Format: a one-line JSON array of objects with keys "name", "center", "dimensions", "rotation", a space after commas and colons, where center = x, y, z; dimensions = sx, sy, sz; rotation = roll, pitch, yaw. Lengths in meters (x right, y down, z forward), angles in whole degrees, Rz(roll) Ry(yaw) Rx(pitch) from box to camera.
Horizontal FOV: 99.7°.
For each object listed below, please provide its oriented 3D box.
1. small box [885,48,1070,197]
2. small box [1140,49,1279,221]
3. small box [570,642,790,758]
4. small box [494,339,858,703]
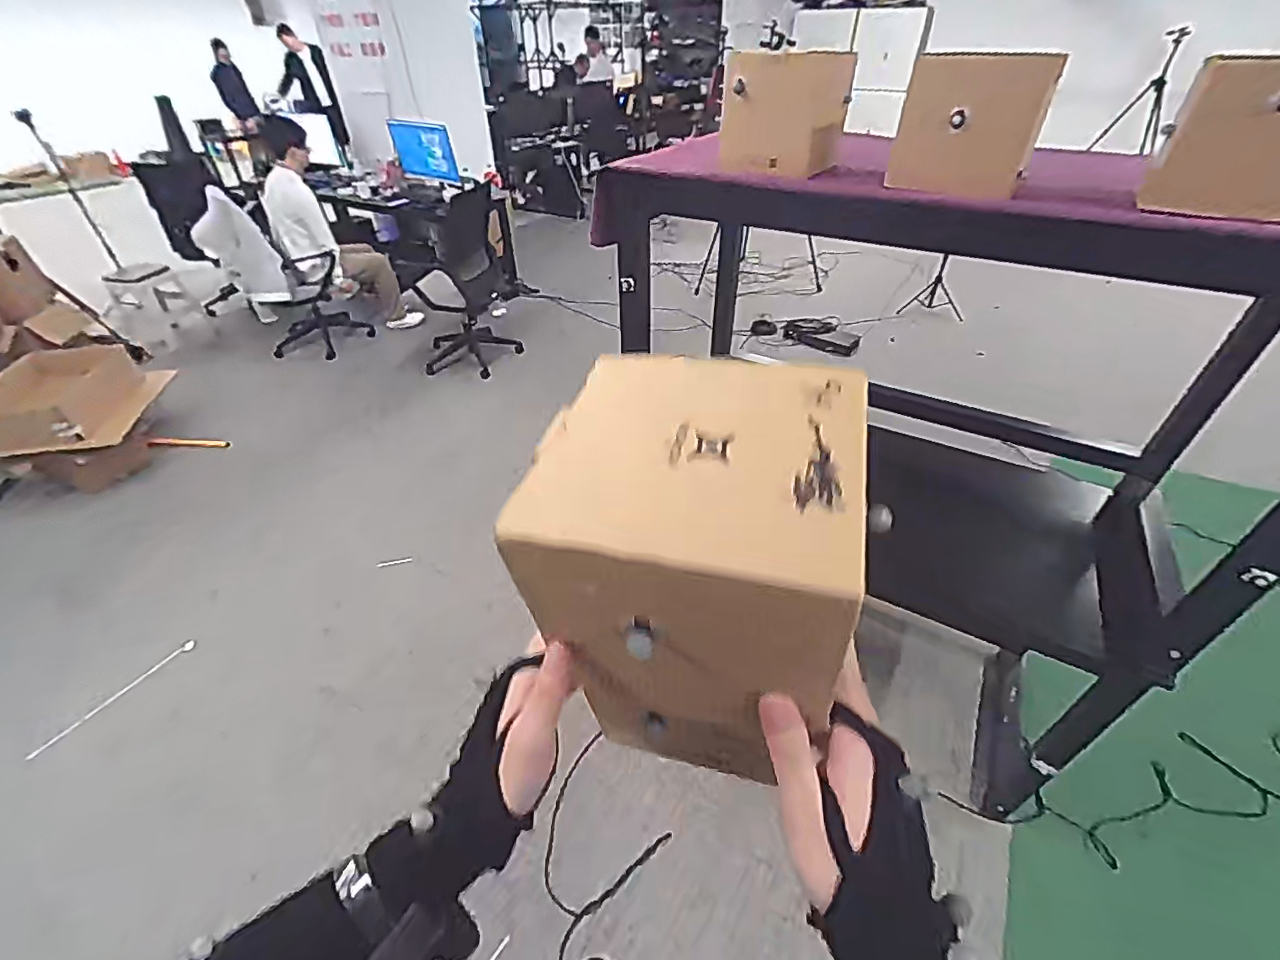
[{"name": "small box", "center": [0.495, -0.533, 0.807], "dimensions": [0.179, 0.176, 0.168], "rotation": [23, 44, 28]}, {"name": "small box", "center": [0.777, -0.435, 0.680], "dimensions": [0.179, 0.176, 0.168], "rotation": [24, 45, 29]}, {"name": "small box", "center": [0.058, 0.123, 0.491], "dimensions": [0.168, 0.176, 0.179], "rotation": [7, 47, 17]}, {"name": "small box", "center": [0.040, 0.024, 0.359], "dimensions": [0.179, 0.176, 0.168], "rotation": [6, 47, 18]}]
